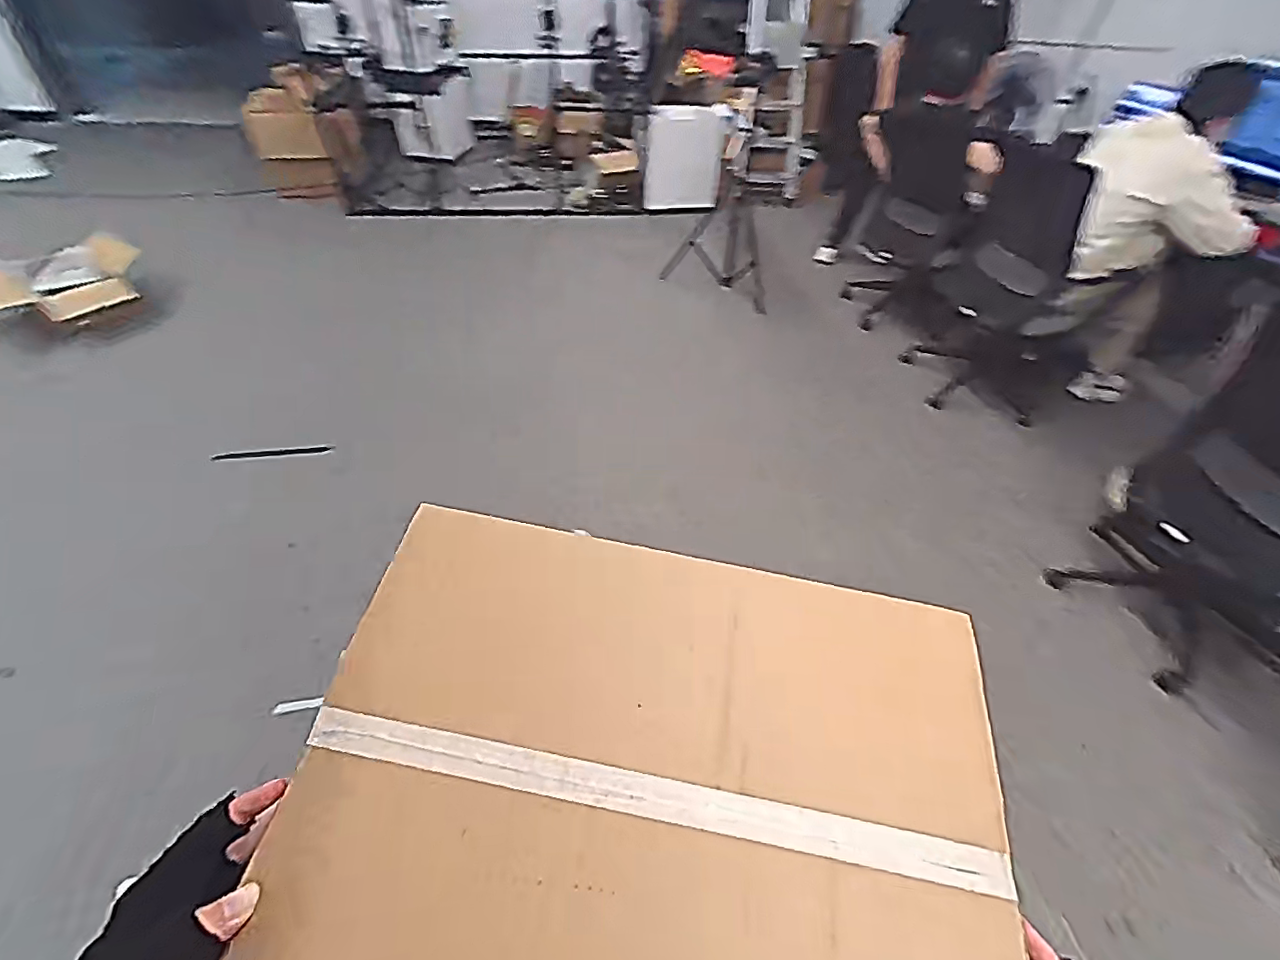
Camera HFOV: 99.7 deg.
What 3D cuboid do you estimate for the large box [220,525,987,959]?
[{"bbox_3d":[-0.012,0.270,0.447,0.408,0.320,0.320,10,57,2],"label":"large box"}]
